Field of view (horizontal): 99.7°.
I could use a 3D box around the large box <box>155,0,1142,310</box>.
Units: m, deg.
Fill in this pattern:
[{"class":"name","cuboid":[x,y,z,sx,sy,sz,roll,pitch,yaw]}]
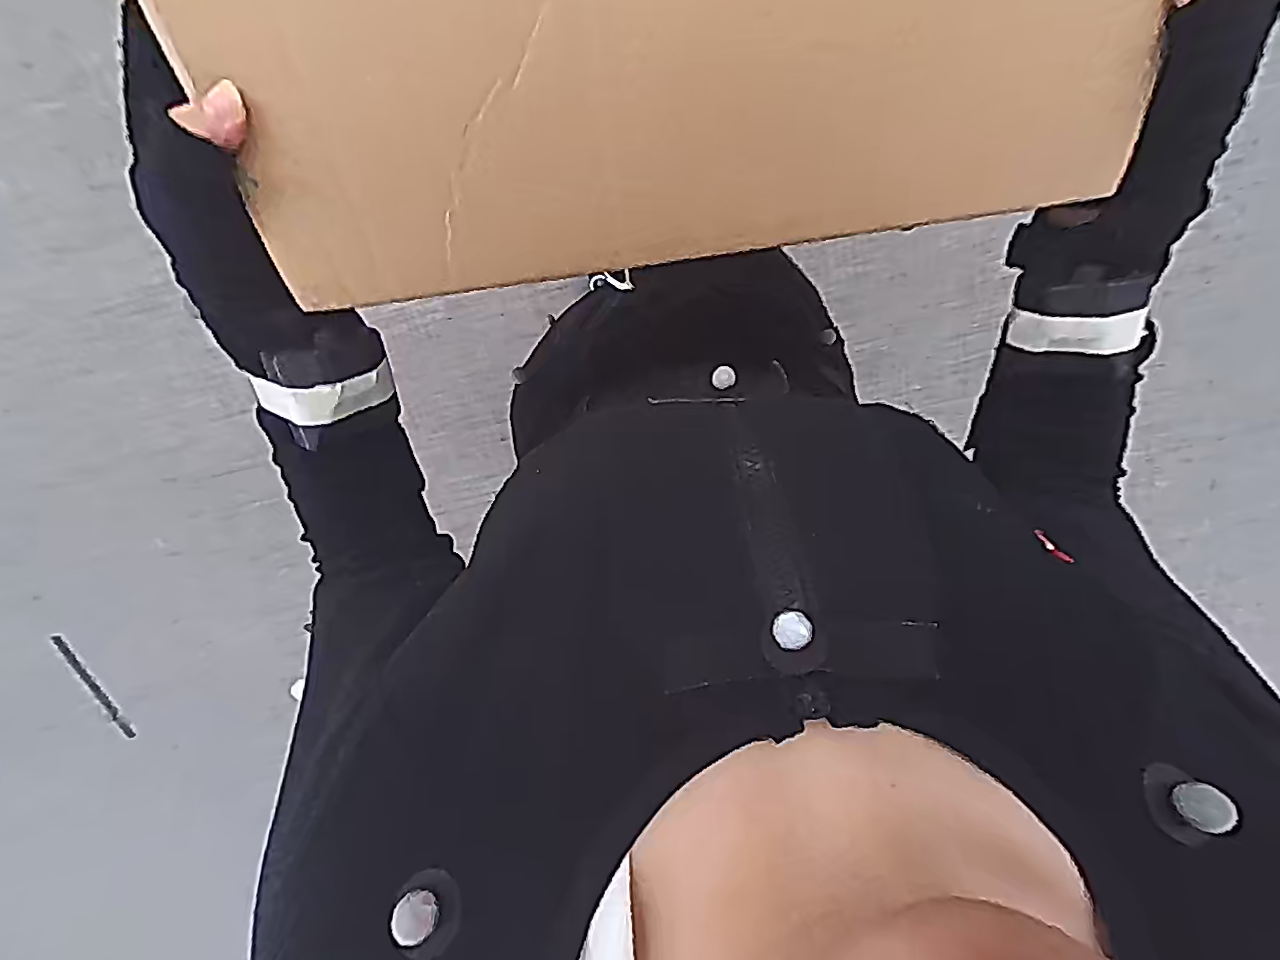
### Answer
[{"class":"large box","cuboid":[-0.001,-0.326,0.305,0.408,0.320,0.320,-7,126,2]}]
